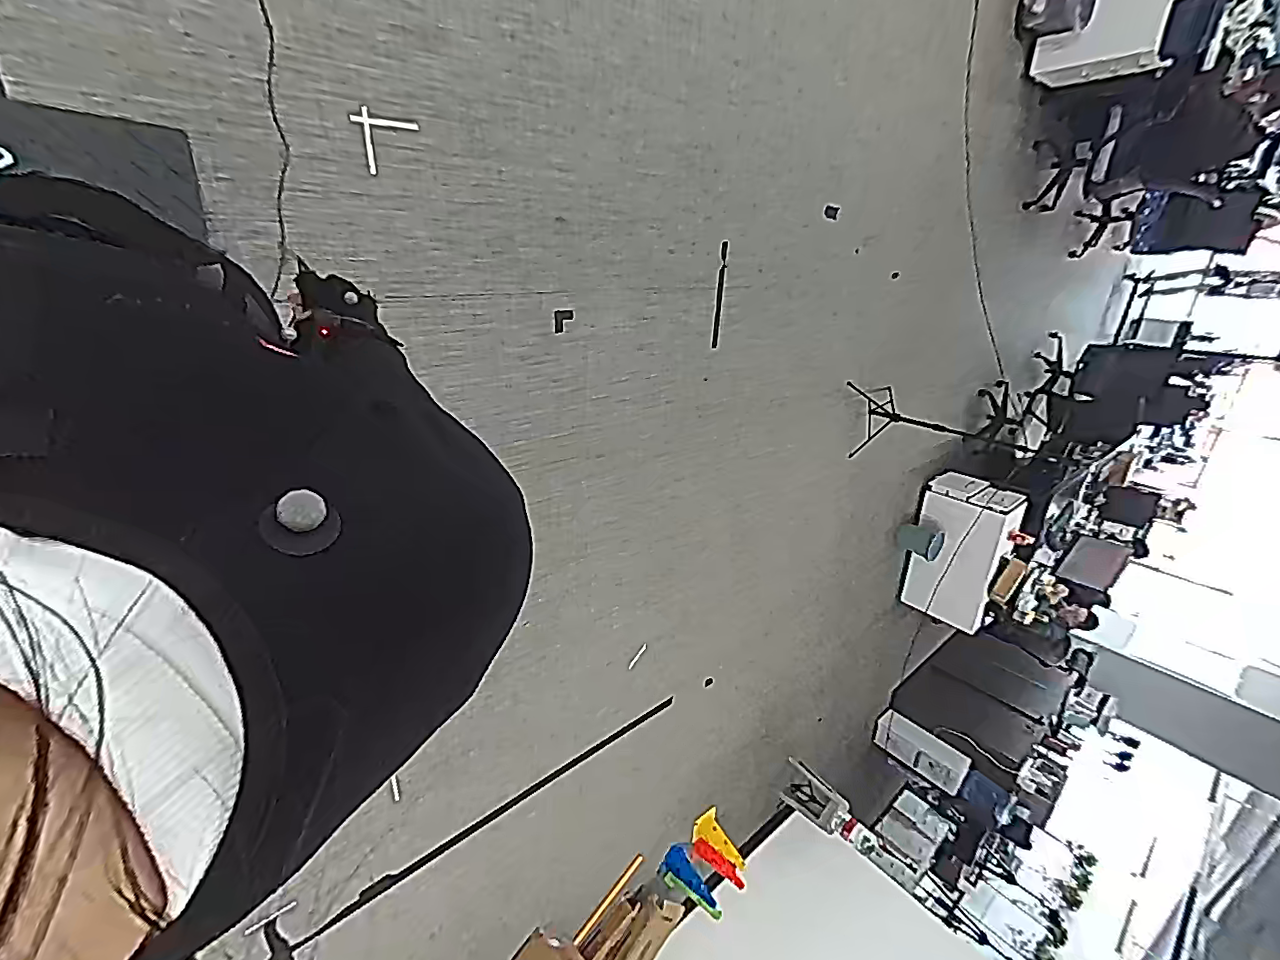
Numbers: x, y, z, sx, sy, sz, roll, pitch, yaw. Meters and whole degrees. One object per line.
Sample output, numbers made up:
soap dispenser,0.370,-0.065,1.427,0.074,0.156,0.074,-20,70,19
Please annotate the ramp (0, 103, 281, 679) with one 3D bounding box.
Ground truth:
ramp,-1.063,-0.153,1.019,0.509,0.206,0.991,-15,117,-37
